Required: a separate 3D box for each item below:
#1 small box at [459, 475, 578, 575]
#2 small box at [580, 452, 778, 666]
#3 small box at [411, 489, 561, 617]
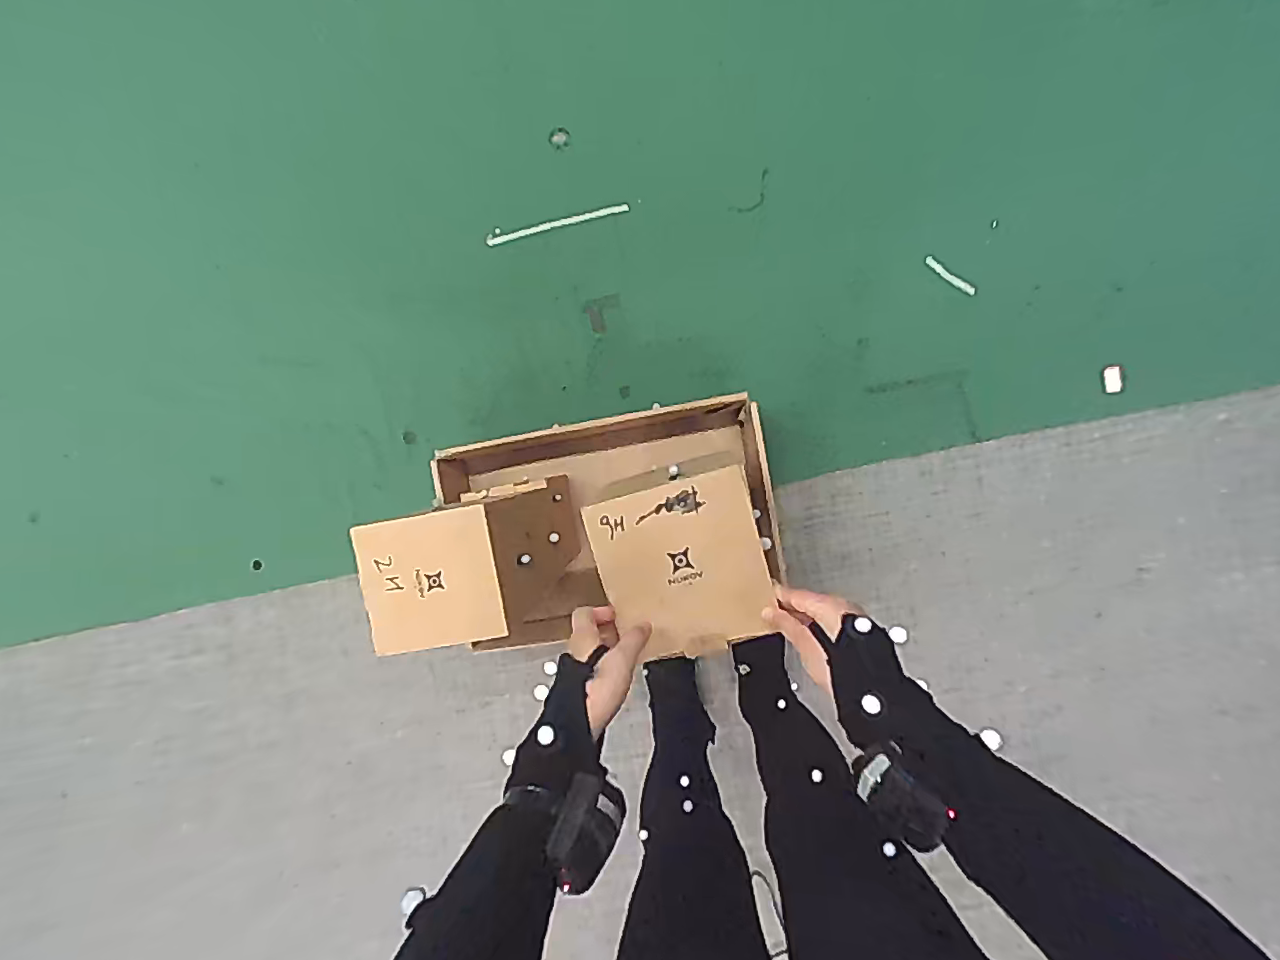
[{"bbox_3d":[-0.228,0.093,1.061,0.168,0.176,0.179,-11,93,6],"label":"small box"},{"bbox_3d":[0.048,0.079,0.620,0.168,0.176,0.179,-16,98,8],"label":"small box"},{"bbox_3d":[-0.246,0.113,0.899,0.179,0.176,0.168,-10,93,4],"label":"small box"}]
